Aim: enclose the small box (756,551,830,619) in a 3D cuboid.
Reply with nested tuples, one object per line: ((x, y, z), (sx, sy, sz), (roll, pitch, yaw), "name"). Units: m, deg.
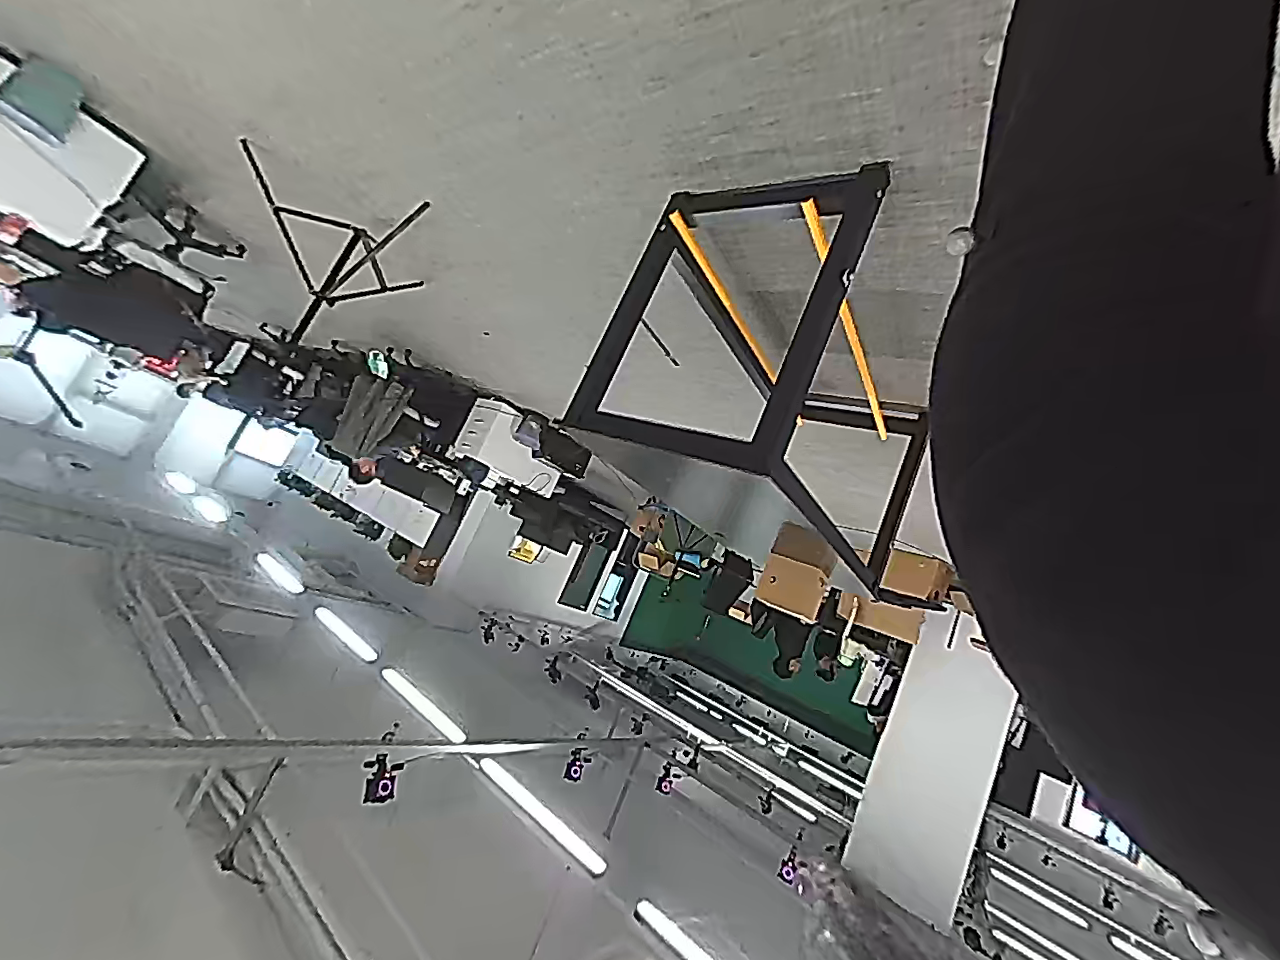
((0.525, 0.354, 1.843), (0.179, 0.176, 0.168), (16, 169, 36), "small box")
